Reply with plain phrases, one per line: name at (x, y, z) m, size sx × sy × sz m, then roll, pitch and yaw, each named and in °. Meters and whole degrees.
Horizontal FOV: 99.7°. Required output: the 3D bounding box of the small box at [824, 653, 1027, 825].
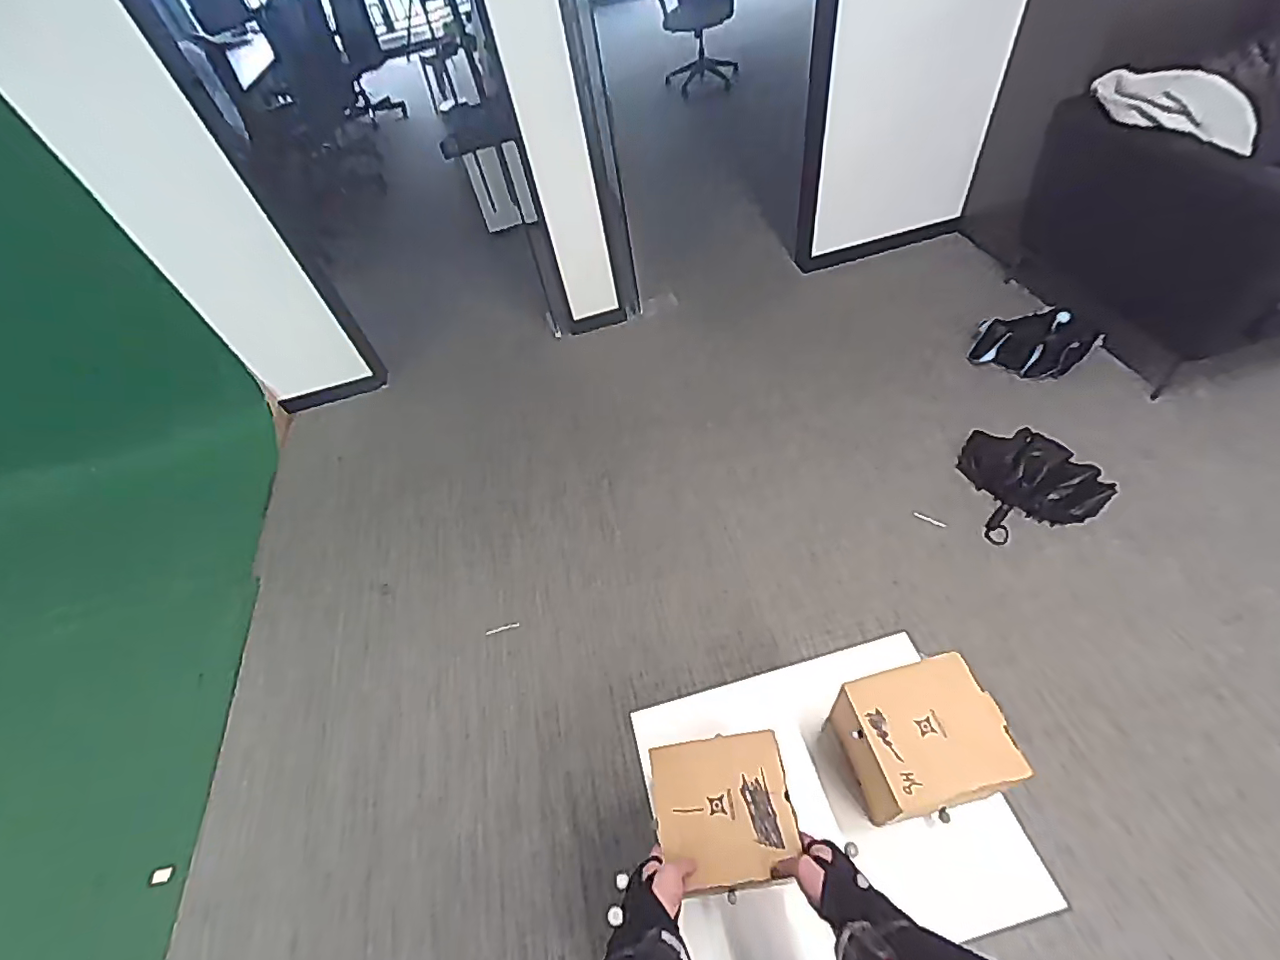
small box at (0.386, 0.372, 0.772) m, size 0.179 × 0.176 × 0.168 m, roll -13°, pitch 50°, yaw -3°

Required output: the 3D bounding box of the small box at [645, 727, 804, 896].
small box at (0.105, 0.455, 0.740) m, size 0.179 × 0.176 × 0.168 m, roll -8°, pitch 50°, yaw 1°
